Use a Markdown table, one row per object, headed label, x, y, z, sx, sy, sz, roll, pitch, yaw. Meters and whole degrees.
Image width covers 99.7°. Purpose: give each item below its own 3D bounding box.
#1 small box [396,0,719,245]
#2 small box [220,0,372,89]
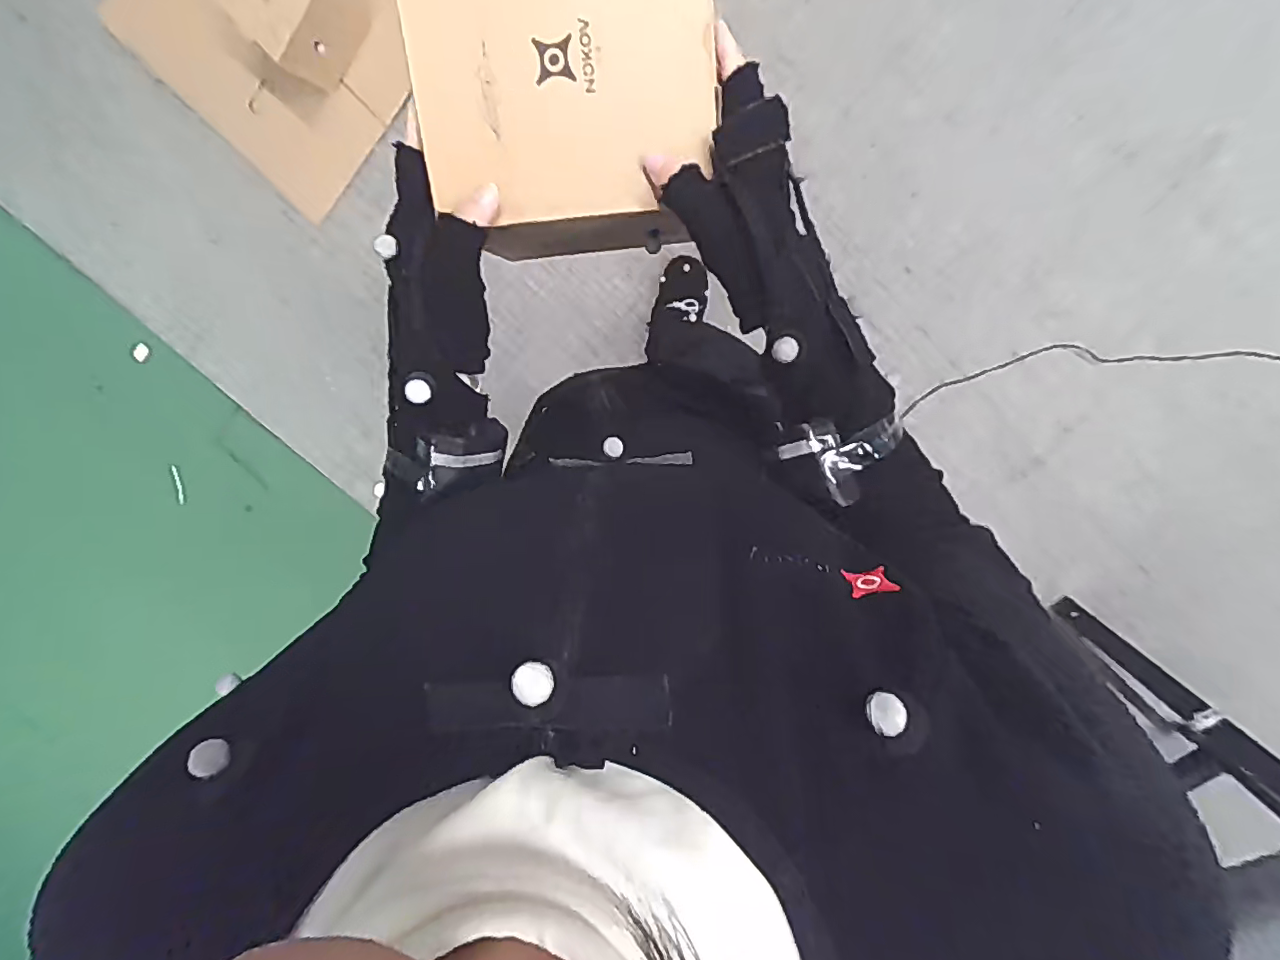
| label | x | y | z | sx | sy | sz | roll | pitch | yaw |
| --- | --- | --- | --- | --- | --- | --- | --- | --- | --- |
| small box | -0.044 | -0.271 | 0.379 | 0.179 | 0.176 | 0.168 | -5 | 105 | 5 |
| small box | -0.689 | -0.954 | 1.103 | 0.168 | 0.176 | 0.179 | 40 | 109 | -6 |
